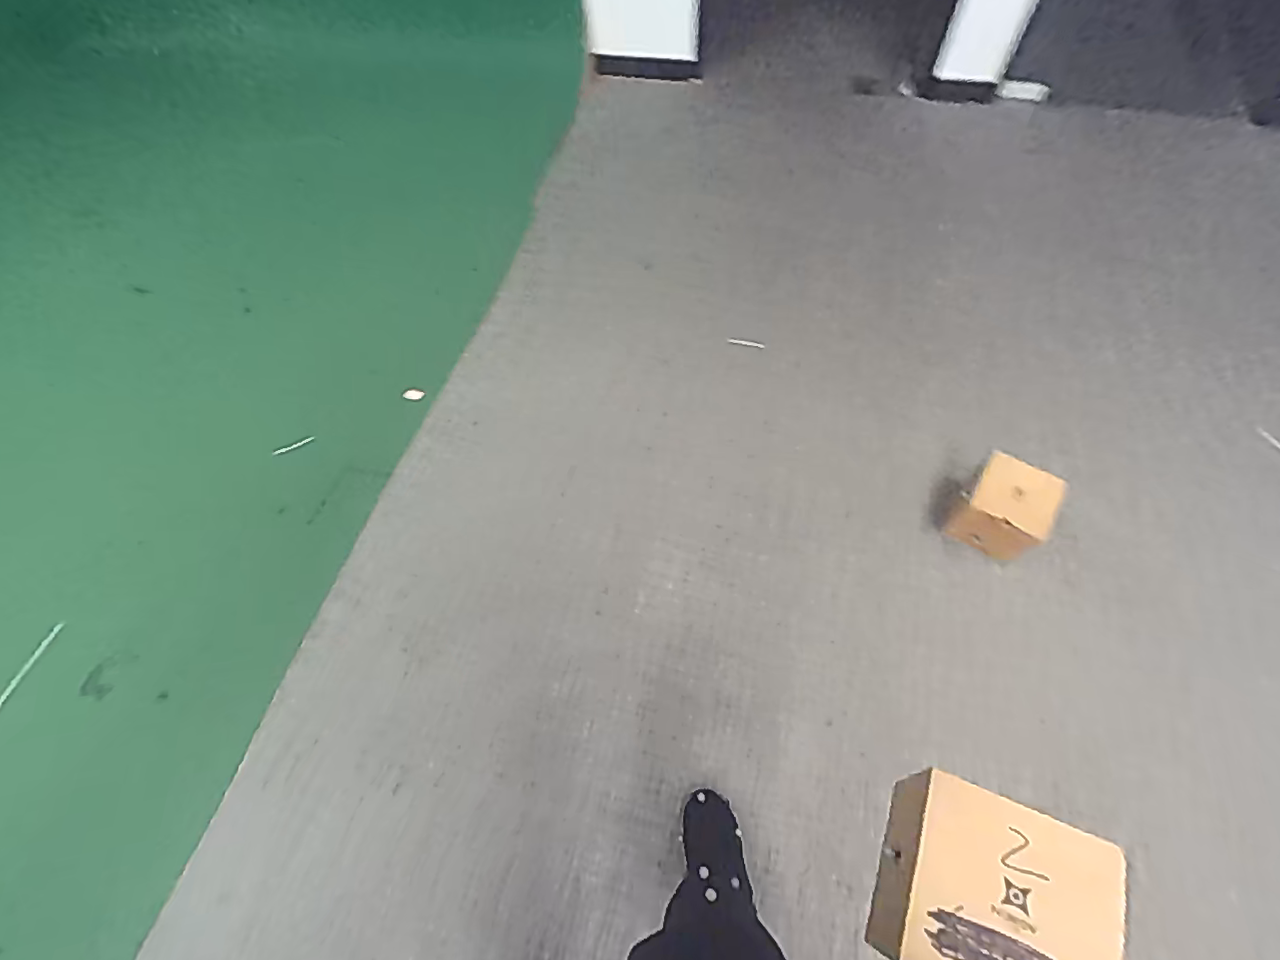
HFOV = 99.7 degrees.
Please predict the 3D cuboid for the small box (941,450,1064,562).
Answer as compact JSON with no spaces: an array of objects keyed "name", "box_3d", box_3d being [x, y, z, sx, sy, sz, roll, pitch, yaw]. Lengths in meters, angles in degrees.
[{"name":"small box","box_3d":[0.858,0.065,1.295,0.168,0.176,0.179,30,68,17]}]
